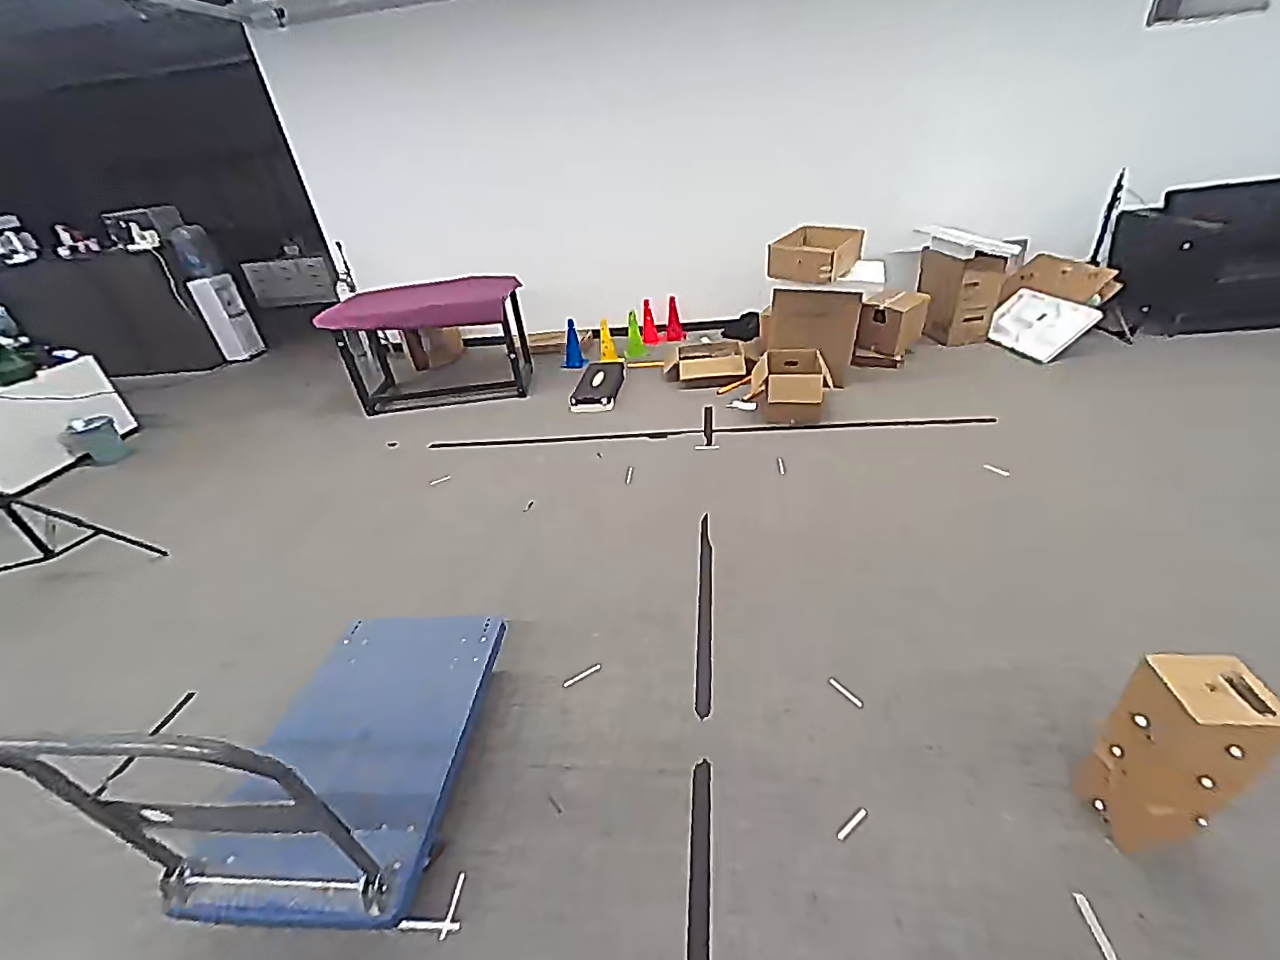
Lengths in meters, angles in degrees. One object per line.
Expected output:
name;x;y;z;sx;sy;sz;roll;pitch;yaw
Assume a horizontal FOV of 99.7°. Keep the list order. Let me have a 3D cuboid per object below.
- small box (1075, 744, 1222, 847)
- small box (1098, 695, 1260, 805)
small box;1.219;0.756;1.315;0.179;0.176;0.168;-8;32;-2
small box;1.210;0.616;1.233;0.179;0.176;0.168;-2;33;8
